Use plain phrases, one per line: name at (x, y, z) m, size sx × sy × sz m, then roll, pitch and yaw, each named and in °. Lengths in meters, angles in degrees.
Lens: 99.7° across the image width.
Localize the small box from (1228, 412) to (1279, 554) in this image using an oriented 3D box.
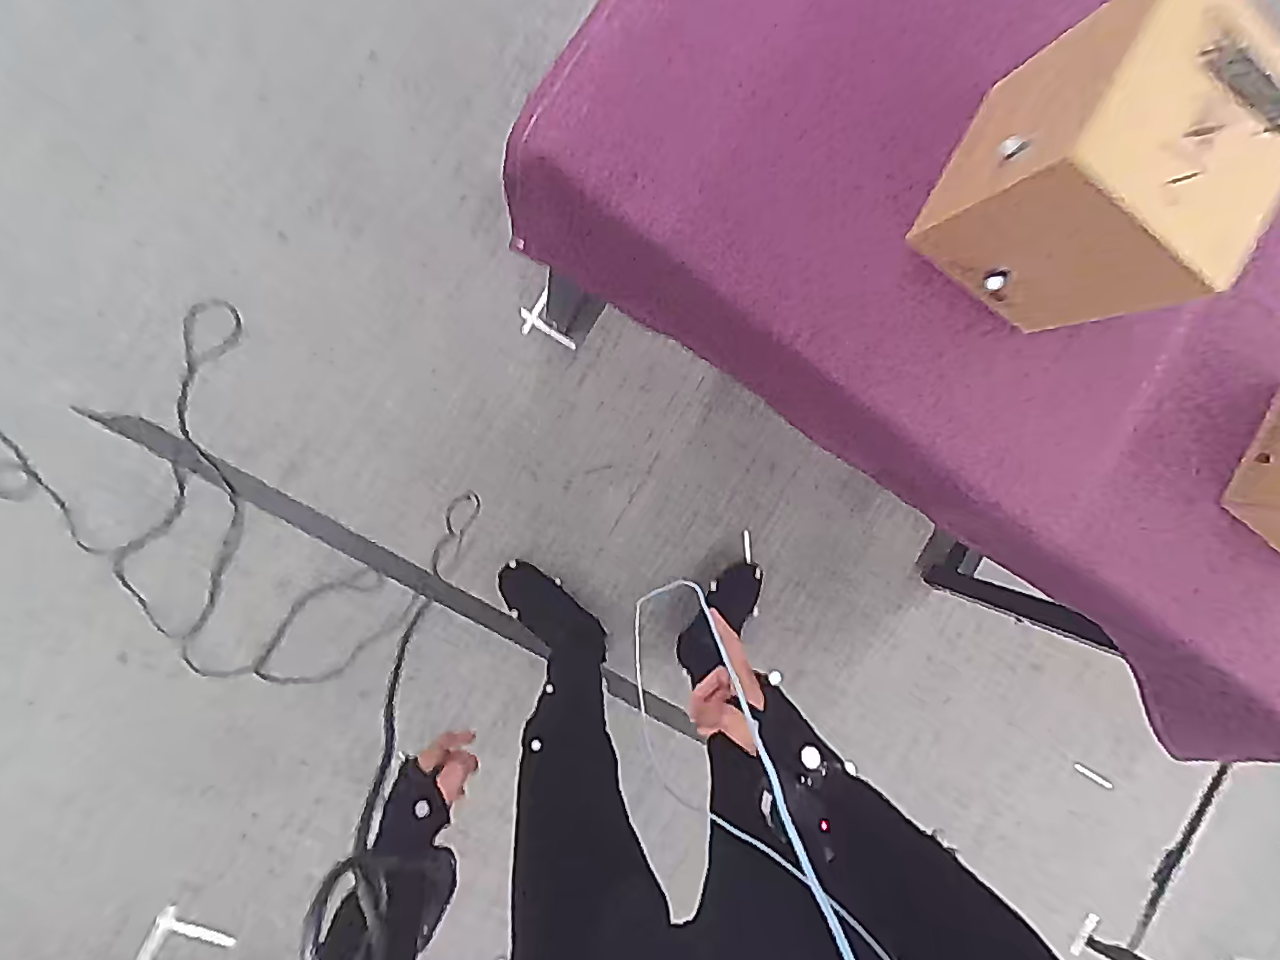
small box at (0.785, 0.009, 0.556) m, size 0.179 × 0.176 × 0.168 m, roll 31°, pitch 88°, yaw -12°
